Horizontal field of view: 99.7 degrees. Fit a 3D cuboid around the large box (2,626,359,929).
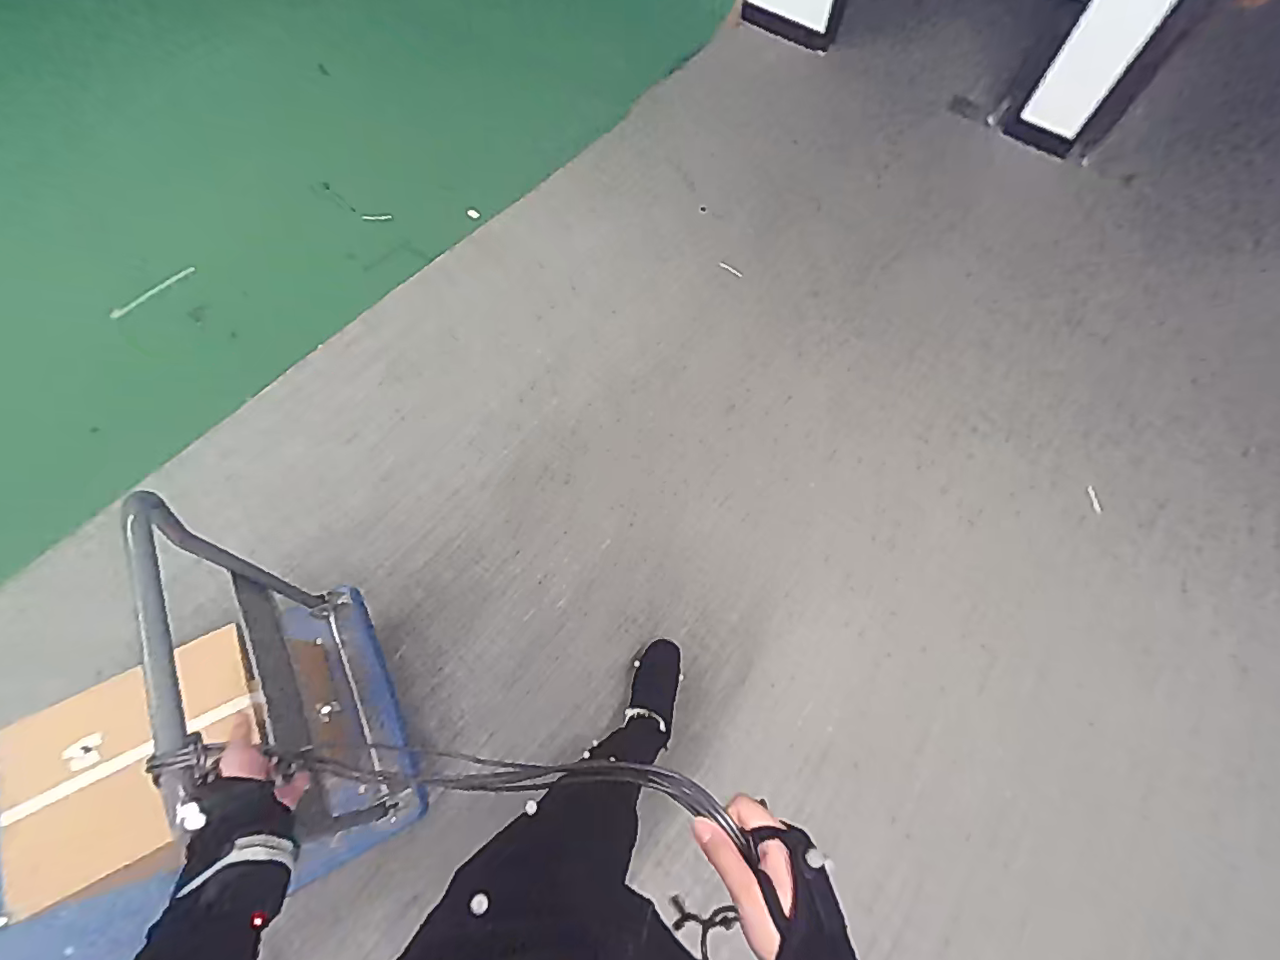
[{"bbox_3d":[-0.847,0.533,1.047,0.408,0.320,0.320,-25,69,-11],"label":"large box"}]
